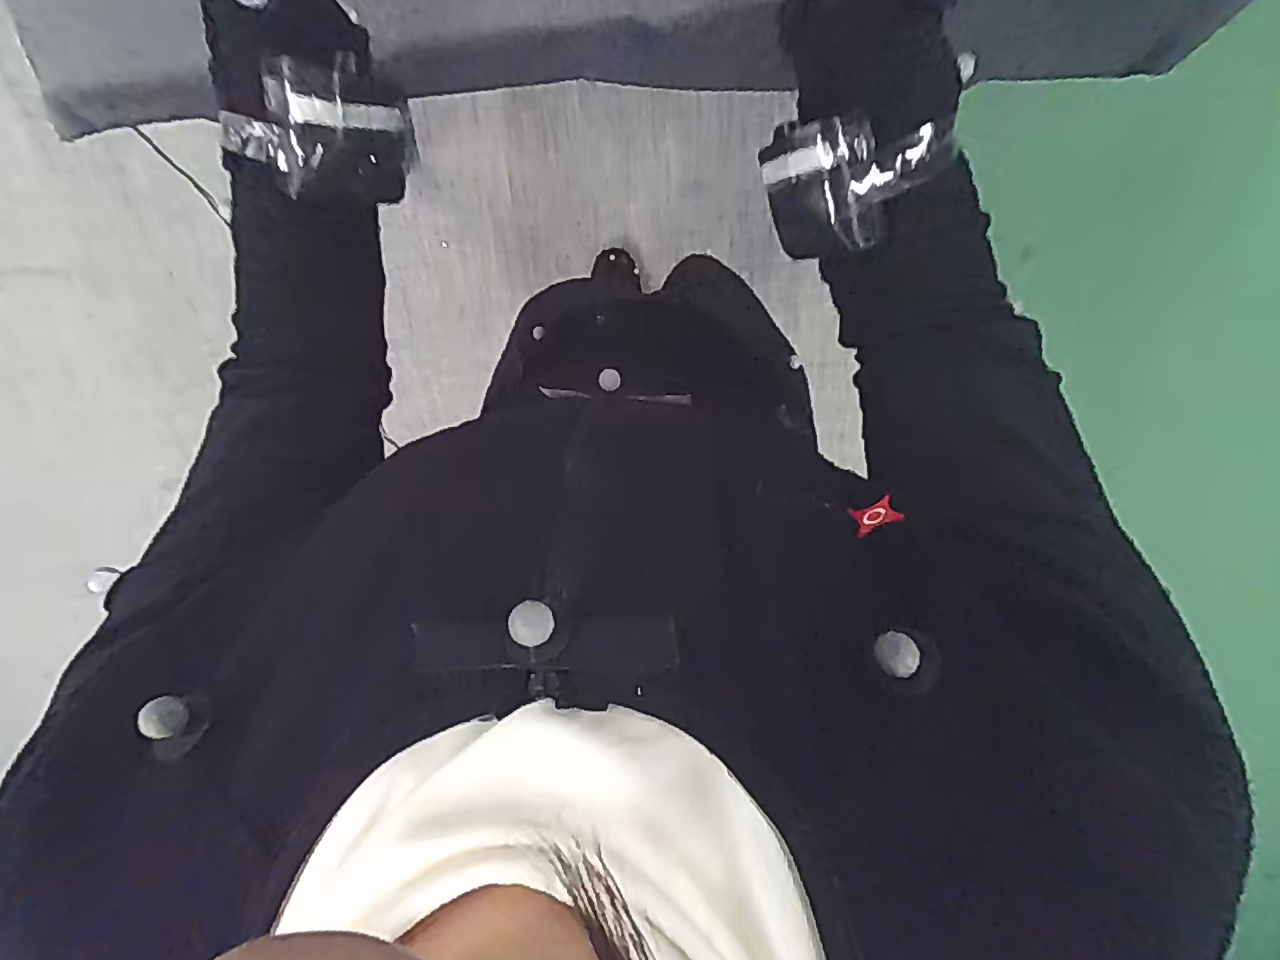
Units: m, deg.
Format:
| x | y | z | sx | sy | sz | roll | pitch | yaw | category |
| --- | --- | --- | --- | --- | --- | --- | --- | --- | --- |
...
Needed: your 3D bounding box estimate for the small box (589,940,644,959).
| x | y | z | sx | sy | sz | roll | pitch | yaw | category |
| --- | --- | --- | --- | --- | --- | --- | --- | --- | --- |
| -0.071 | 1.598 | 1.711 | 0.179 | 0.176 | 0.168 | -7 | 109 | 5 | small box |
